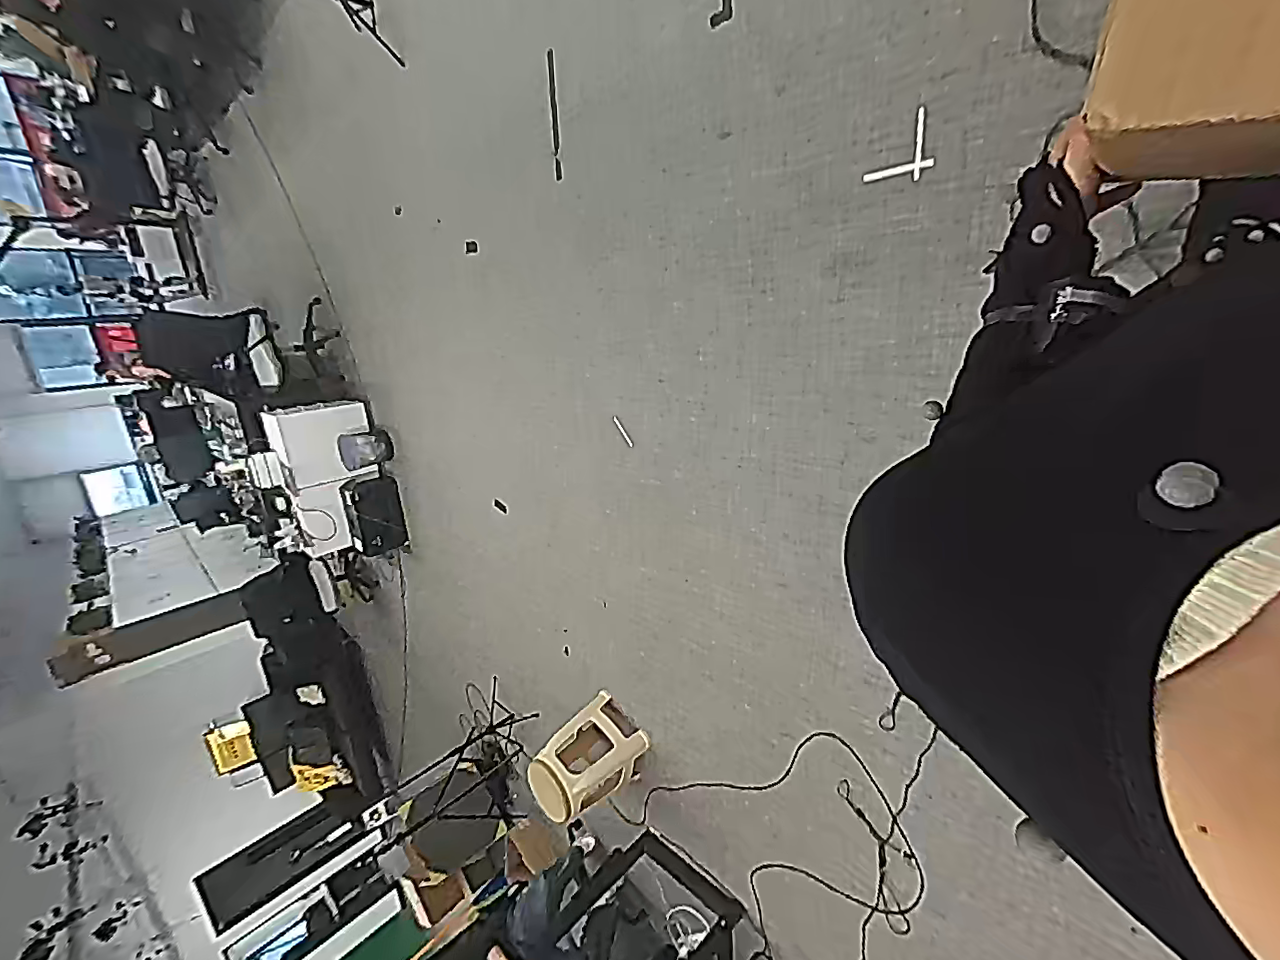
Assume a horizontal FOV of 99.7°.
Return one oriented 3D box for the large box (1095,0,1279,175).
[{"bbox_3d":[0.446,-0.305,0.178,0.408,0.320,0.320,18,120,35],"label":"large box"}]
